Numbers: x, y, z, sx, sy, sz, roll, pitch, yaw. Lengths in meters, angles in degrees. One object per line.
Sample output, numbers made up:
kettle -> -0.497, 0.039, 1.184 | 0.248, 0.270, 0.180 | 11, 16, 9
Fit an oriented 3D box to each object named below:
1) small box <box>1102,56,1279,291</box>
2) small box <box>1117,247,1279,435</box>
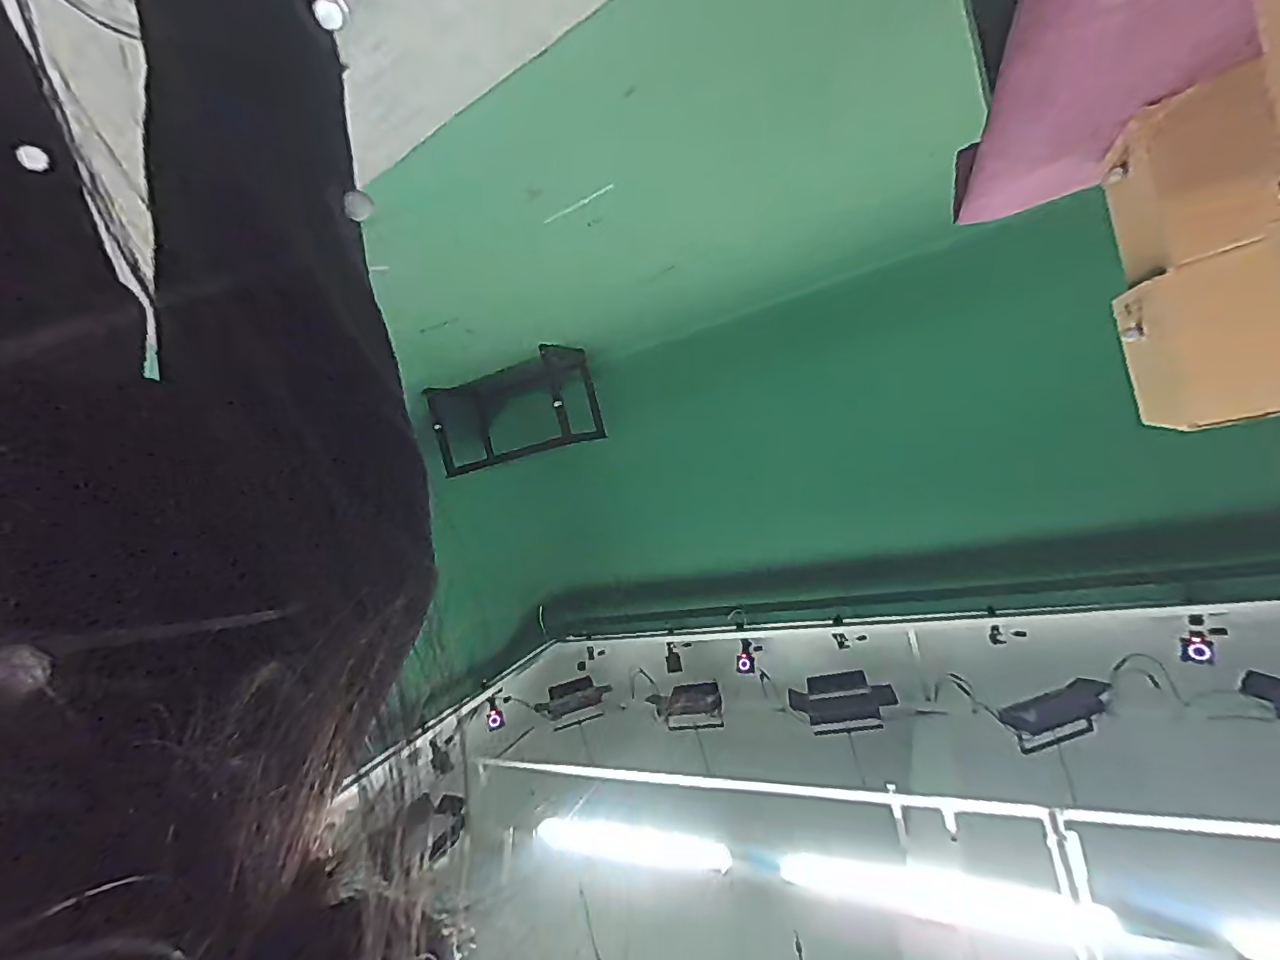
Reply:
small box -> 0.621, -0.314, 0.554 | 0.179, 0.176, 0.168 | -14, -179, 31
small box -> 0.660, -0.156, 0.579 | 0.179, 0.176, 0.168 | -14, -179, 31
